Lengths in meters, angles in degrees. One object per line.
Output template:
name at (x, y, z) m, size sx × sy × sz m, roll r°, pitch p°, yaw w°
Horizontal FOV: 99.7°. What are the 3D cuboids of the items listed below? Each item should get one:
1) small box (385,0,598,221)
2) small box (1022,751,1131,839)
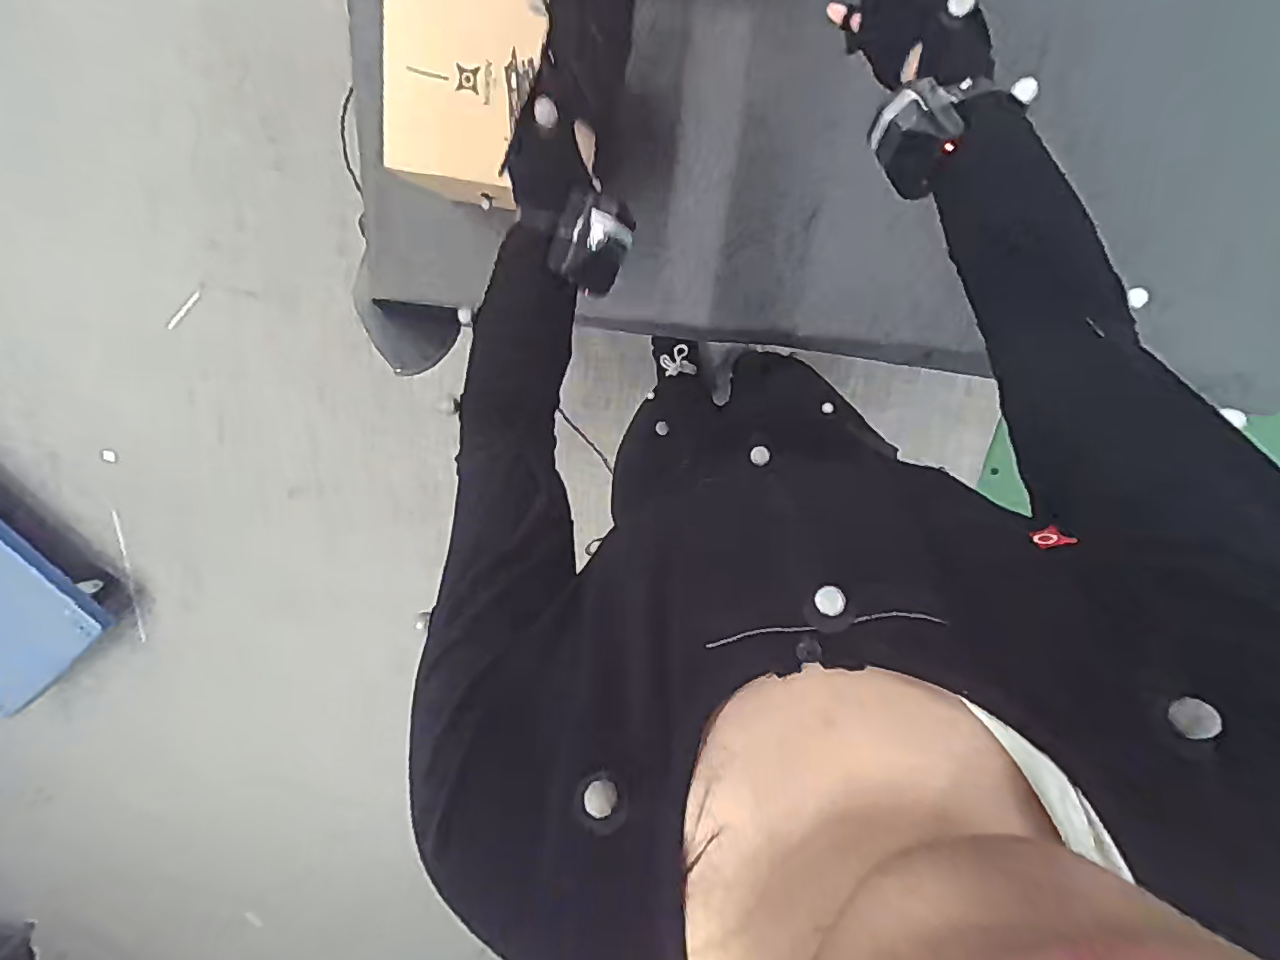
small box at (-0.145, -0.384, 0.573) m, size 0.179 × 0.176 × 0.168 m, roll 9°, pitch 108°, yaw 0°
small box at (1.358, 0.982, 1.694) m, size 0.179 × 0.176 × 0.168 m, roll 7°, pitch 108°, yaw 2°
